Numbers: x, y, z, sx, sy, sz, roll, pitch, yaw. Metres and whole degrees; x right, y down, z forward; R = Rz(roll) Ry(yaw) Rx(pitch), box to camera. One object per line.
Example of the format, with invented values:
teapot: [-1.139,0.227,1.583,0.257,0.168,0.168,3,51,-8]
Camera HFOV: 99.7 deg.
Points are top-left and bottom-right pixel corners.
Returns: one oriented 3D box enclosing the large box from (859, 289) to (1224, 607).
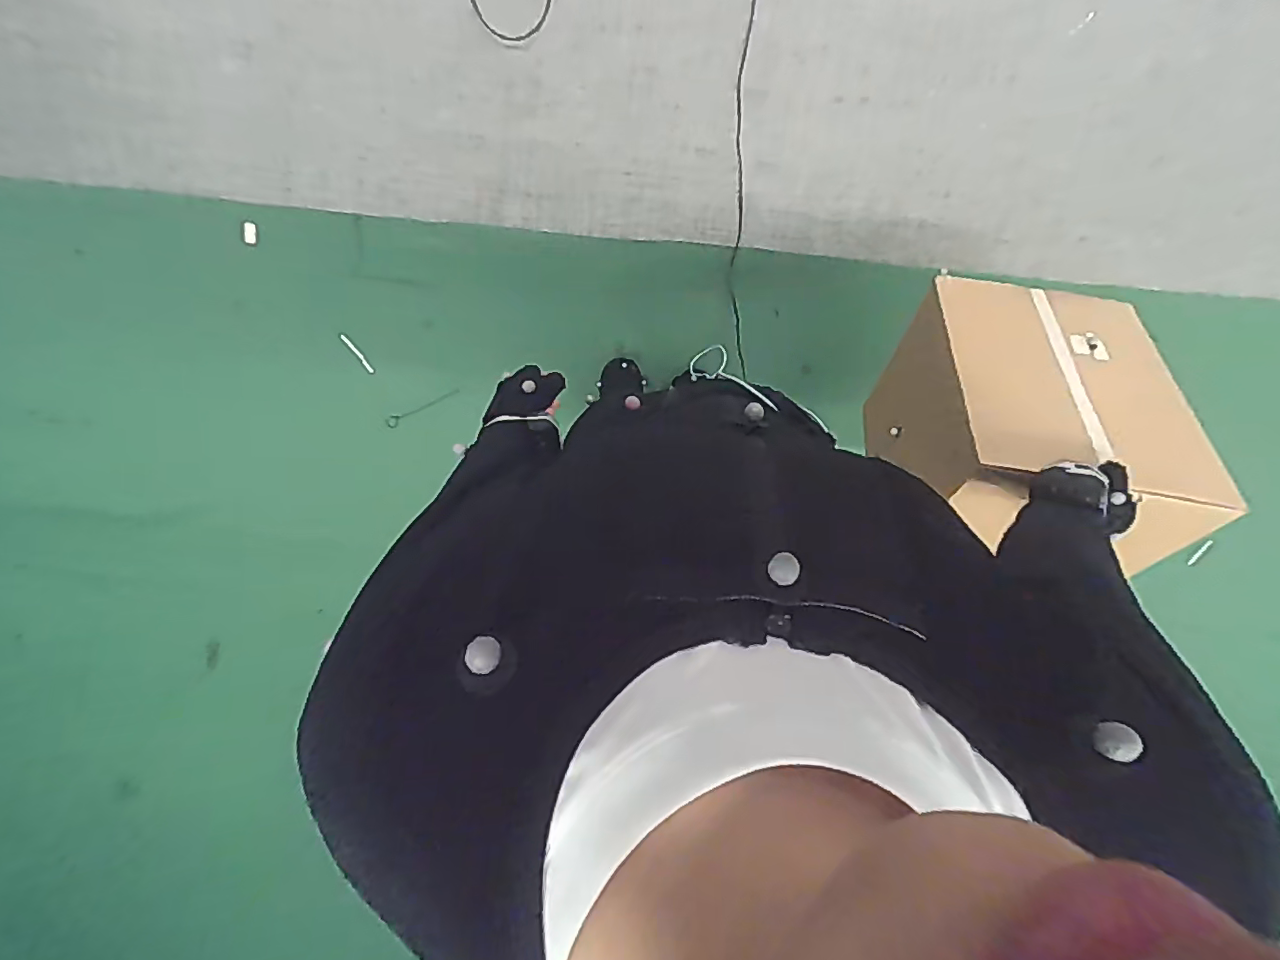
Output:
large box: [0.584,-0.051,0.898,0.320,0.408,0.320,10,143,3]
